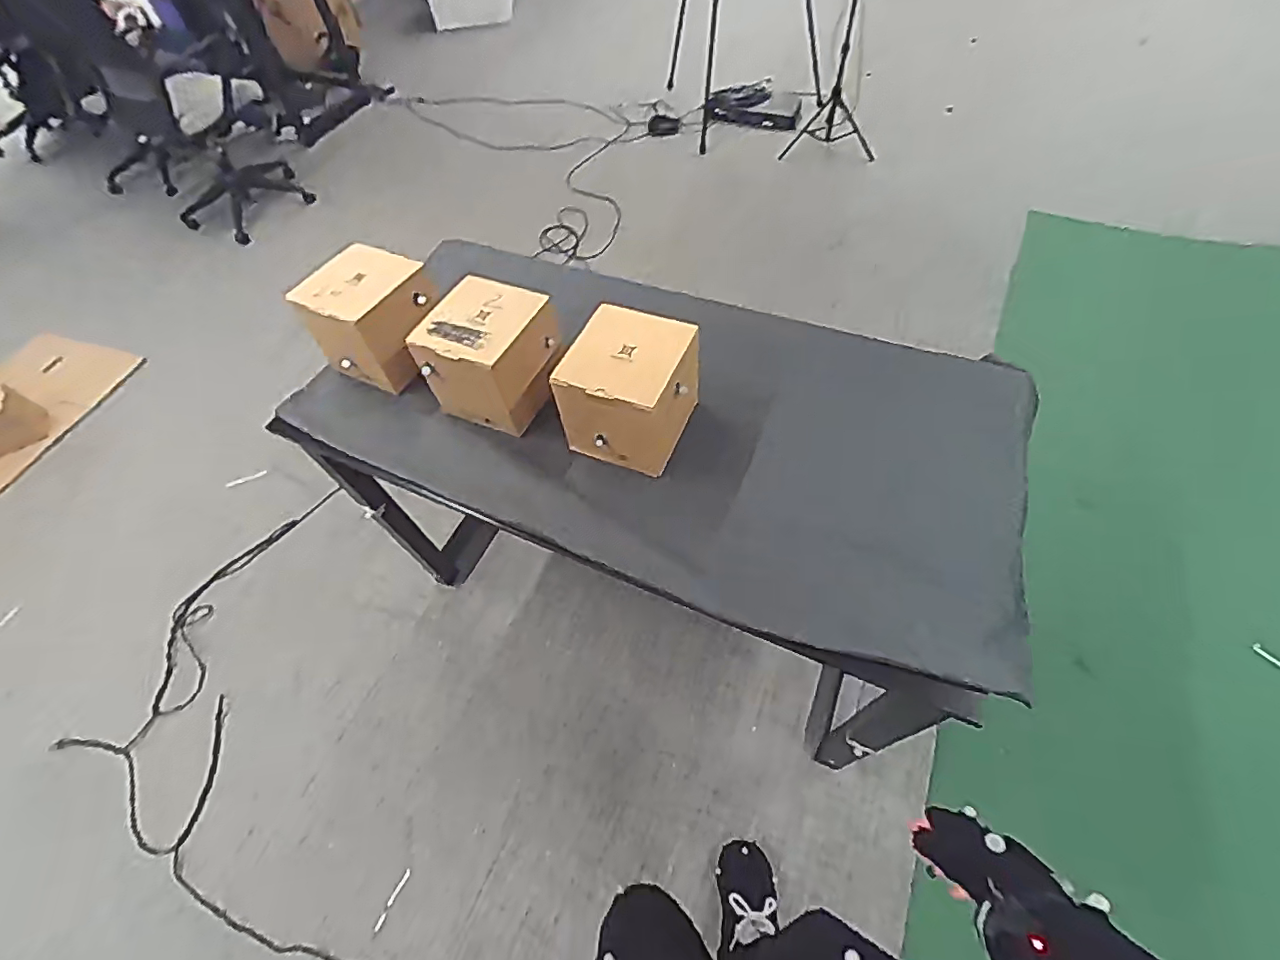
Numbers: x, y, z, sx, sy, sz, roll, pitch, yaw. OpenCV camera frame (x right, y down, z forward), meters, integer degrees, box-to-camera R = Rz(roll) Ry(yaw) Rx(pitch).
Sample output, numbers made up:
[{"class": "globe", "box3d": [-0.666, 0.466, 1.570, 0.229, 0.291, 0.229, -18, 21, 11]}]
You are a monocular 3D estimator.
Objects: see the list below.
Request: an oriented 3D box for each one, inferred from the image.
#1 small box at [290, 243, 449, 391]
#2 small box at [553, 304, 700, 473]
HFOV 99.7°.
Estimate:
[{"class": "small box", "box3d": [-0.479, -0.297, 0.995, 0.168, 0.176, 0.179, 22, 60, 18]}, {"class": "small box", "box3d": [-0.014, -0.142, 0.858, 0.168, 0.176, 0.179, 18, 61, 16]}]
